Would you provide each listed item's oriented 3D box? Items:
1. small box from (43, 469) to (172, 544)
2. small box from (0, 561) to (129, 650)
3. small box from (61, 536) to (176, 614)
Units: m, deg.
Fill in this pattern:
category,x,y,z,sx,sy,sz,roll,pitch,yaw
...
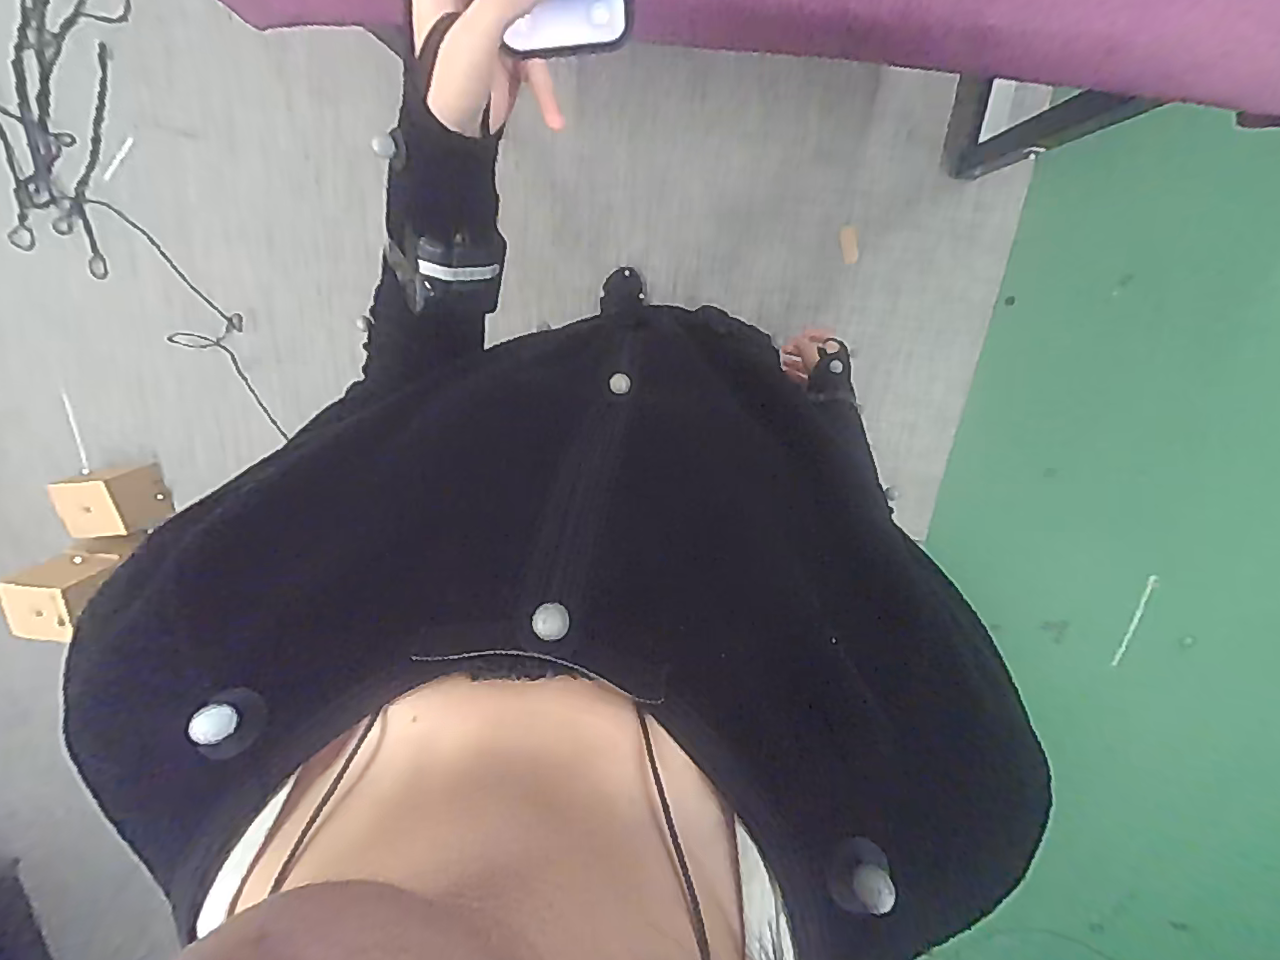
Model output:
category,x,y,z,sx,sy,sz,roll,pitch,yaw
small box,-1.528,0.073,1.563,0.179,0.176,0.168,-4,109,4
small box,-1.573,0.337,1.481,0.179,0.176,0.168,7,109,2
small box,-1.564,0.279,1.634,0.168,0.176,0.179,5,109,2
